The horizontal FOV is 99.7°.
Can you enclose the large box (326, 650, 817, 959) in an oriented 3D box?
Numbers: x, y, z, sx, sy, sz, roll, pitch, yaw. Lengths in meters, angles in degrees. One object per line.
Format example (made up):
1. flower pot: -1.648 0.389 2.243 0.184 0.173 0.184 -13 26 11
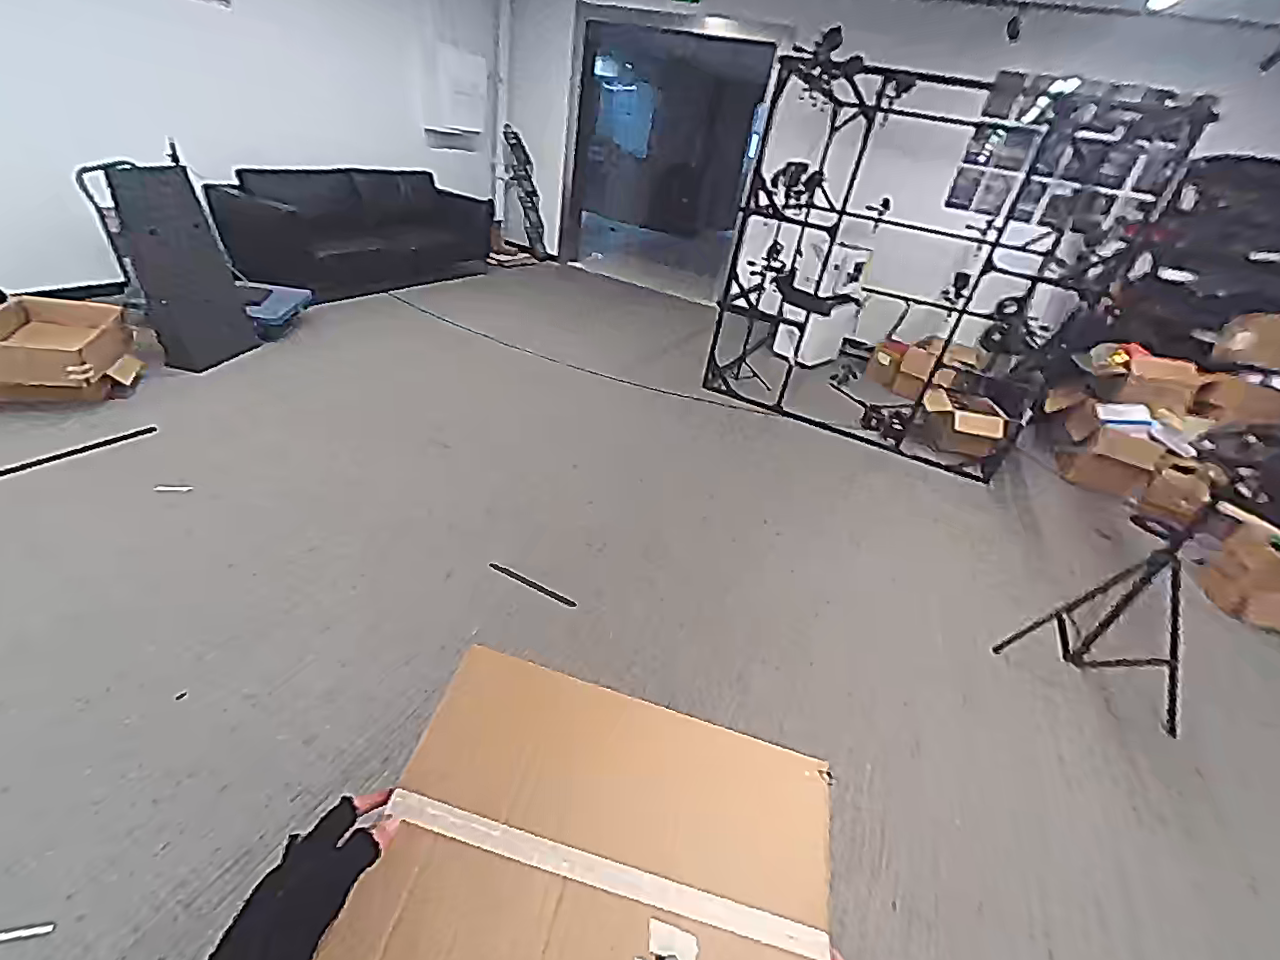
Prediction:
1. large box: -0.060 0.447 0.603 0.408 0.320 0.320 18 47 1
